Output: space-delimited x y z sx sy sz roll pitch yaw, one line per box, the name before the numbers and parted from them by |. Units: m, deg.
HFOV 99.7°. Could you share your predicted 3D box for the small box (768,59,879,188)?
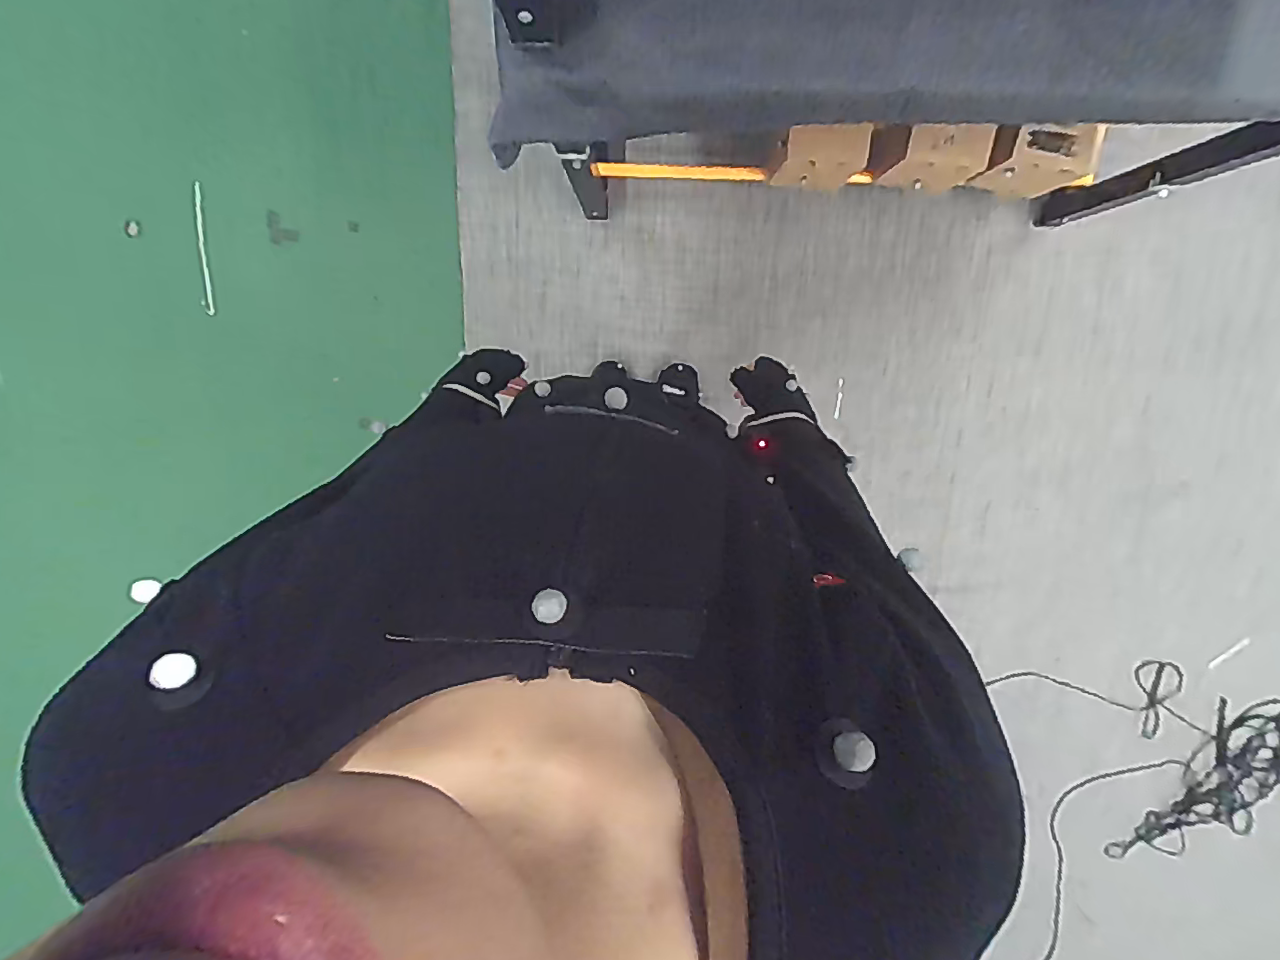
small box | 0.373 -0.735 1.129 0.168 0.176 0.179 3 105 0
